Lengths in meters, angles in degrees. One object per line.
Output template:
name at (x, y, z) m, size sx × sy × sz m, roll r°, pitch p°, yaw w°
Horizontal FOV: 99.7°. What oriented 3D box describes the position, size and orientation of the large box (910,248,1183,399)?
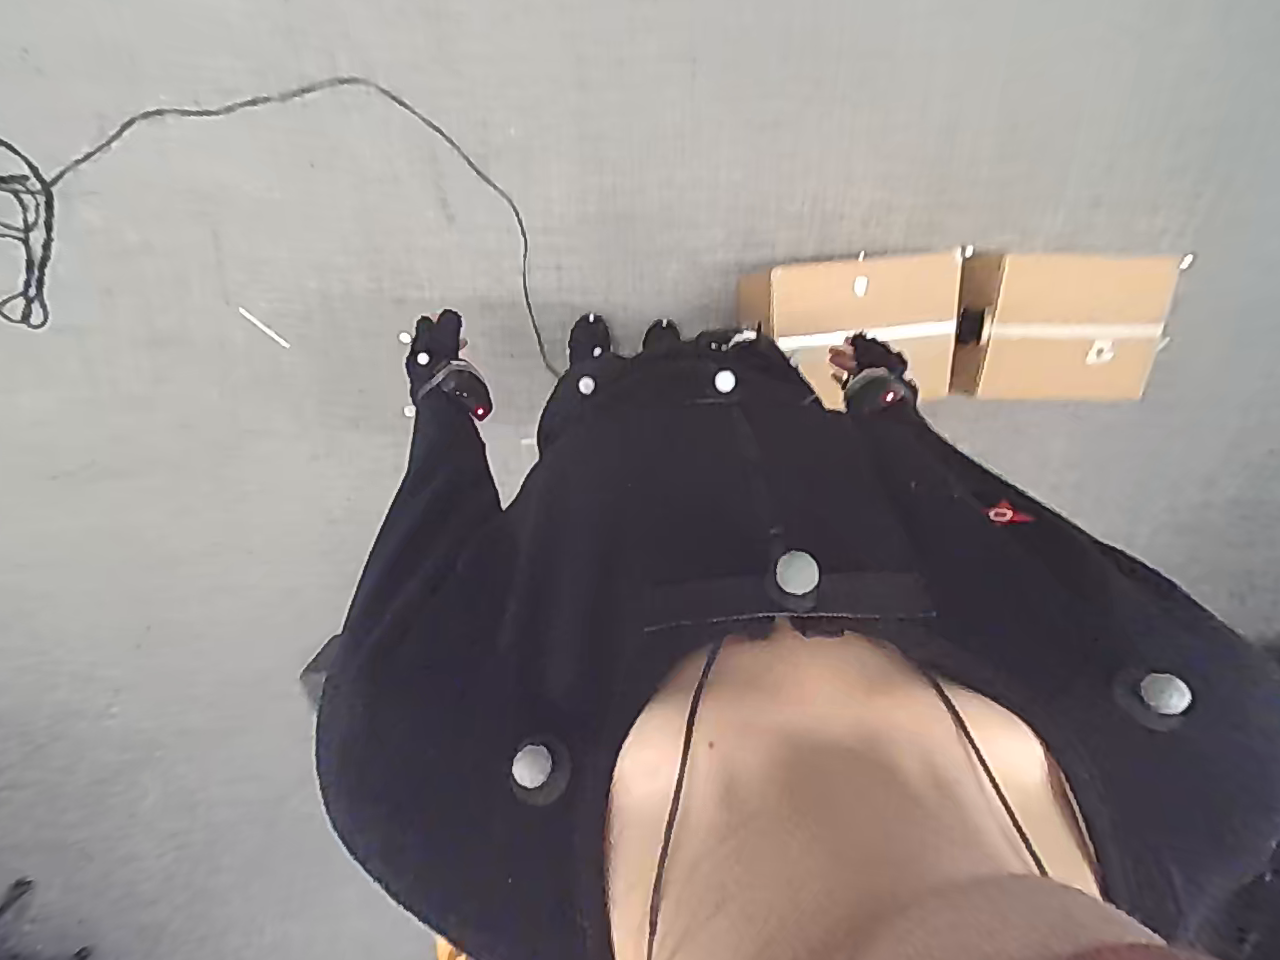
large box at (0.945, -0.380, 1.318) m, size 0.408 × 0.320 × 0.320 m, roll -1°, pitch 109°, yaw -4°
